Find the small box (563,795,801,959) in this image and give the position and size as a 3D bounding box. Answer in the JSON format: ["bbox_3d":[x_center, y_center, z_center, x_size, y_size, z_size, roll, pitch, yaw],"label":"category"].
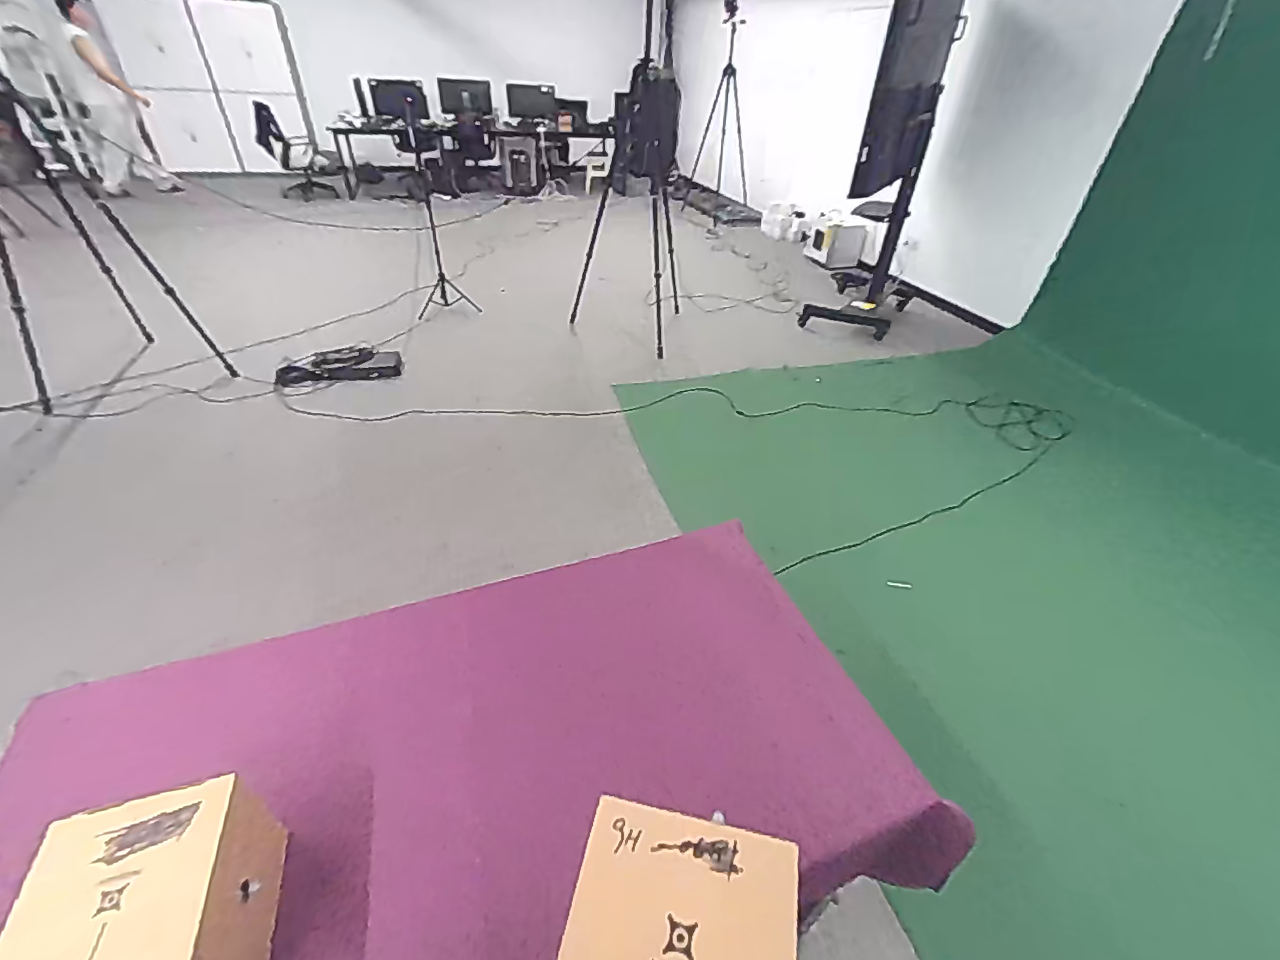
[{"bbox_3d":[0.033,0.394,0.441,0.168,0.176,0.179,7,45,11],"label":"small box"}]

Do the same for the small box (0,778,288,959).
[{"bbox_3d":[-0.492,0.455,0.561,0.168,0.176,0.179,-10,40,-16],"label":"small box"}]
